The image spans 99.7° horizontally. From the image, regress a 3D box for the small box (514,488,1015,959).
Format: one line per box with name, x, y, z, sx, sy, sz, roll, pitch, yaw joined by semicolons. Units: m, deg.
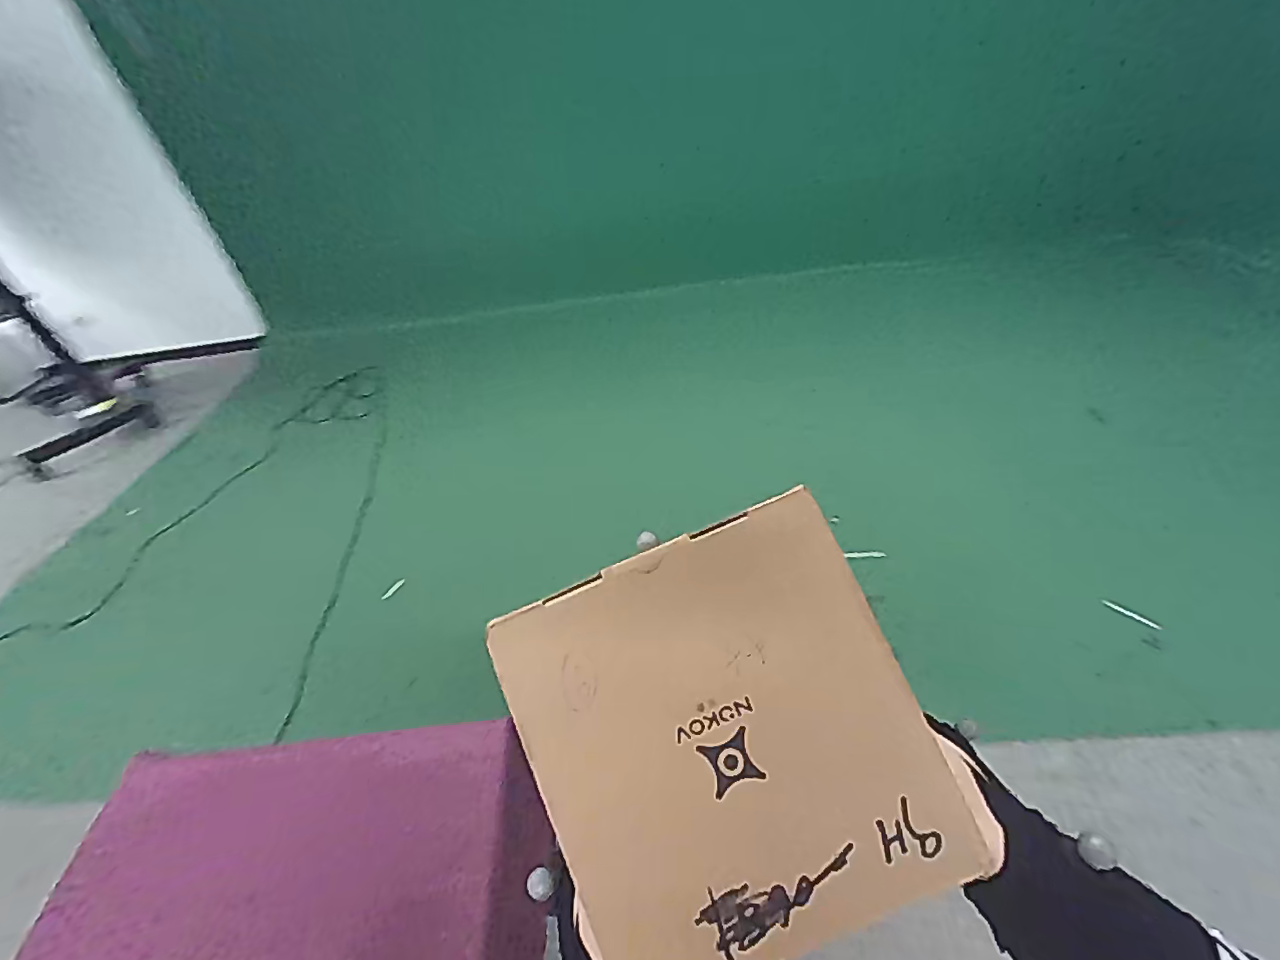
small box;0.052;0.126;0.313;0.168;0.176;0.179;-24;79;0
